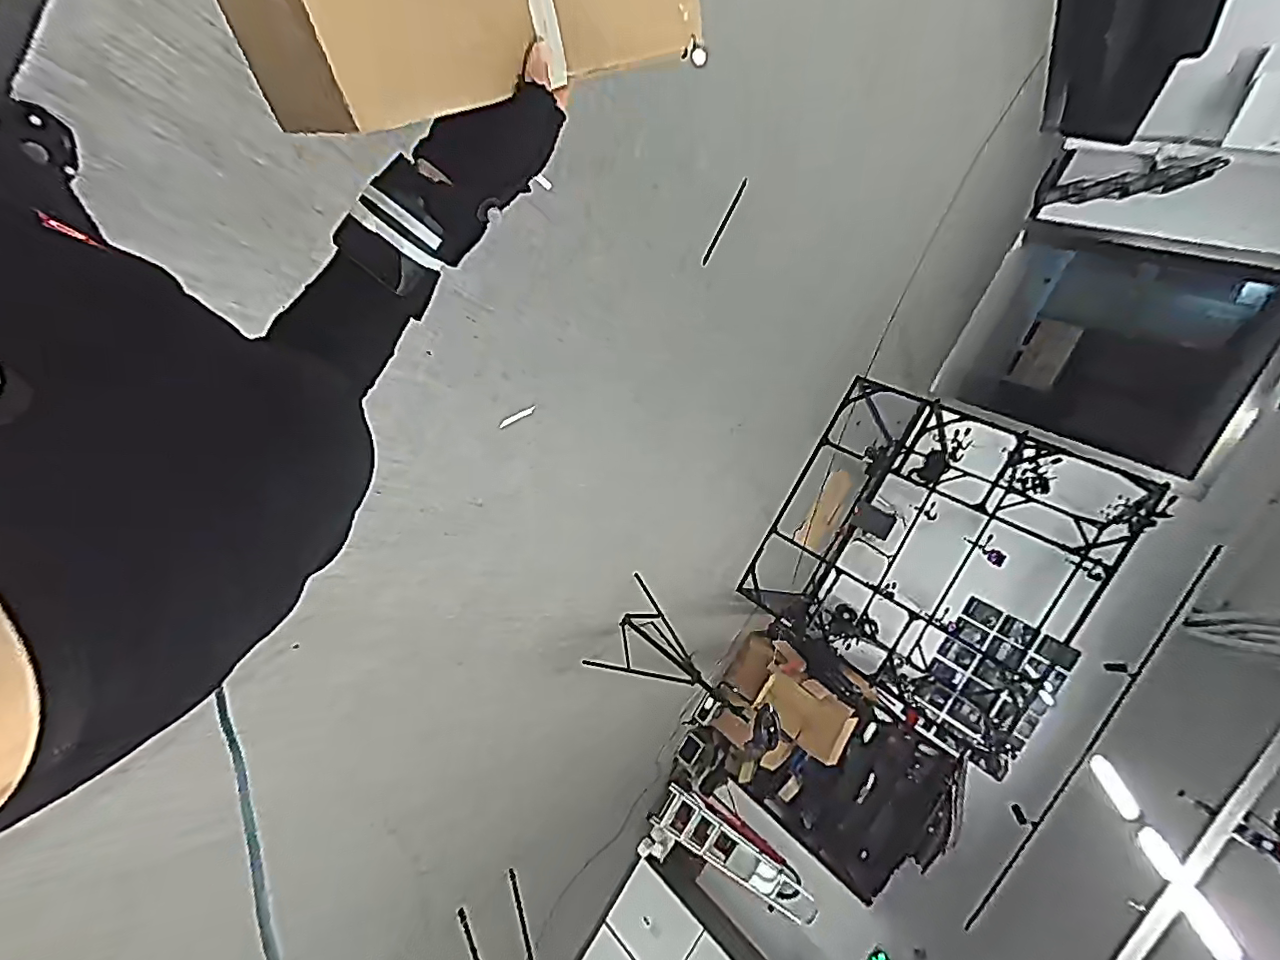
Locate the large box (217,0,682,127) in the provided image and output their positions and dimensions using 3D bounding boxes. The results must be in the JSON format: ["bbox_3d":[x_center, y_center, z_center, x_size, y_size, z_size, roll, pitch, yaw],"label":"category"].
[{"bbox_3d":[-0.203,-0.533,0.398,0.320,0.320,0.408,-33,135,-22],"label":"large box"}]
